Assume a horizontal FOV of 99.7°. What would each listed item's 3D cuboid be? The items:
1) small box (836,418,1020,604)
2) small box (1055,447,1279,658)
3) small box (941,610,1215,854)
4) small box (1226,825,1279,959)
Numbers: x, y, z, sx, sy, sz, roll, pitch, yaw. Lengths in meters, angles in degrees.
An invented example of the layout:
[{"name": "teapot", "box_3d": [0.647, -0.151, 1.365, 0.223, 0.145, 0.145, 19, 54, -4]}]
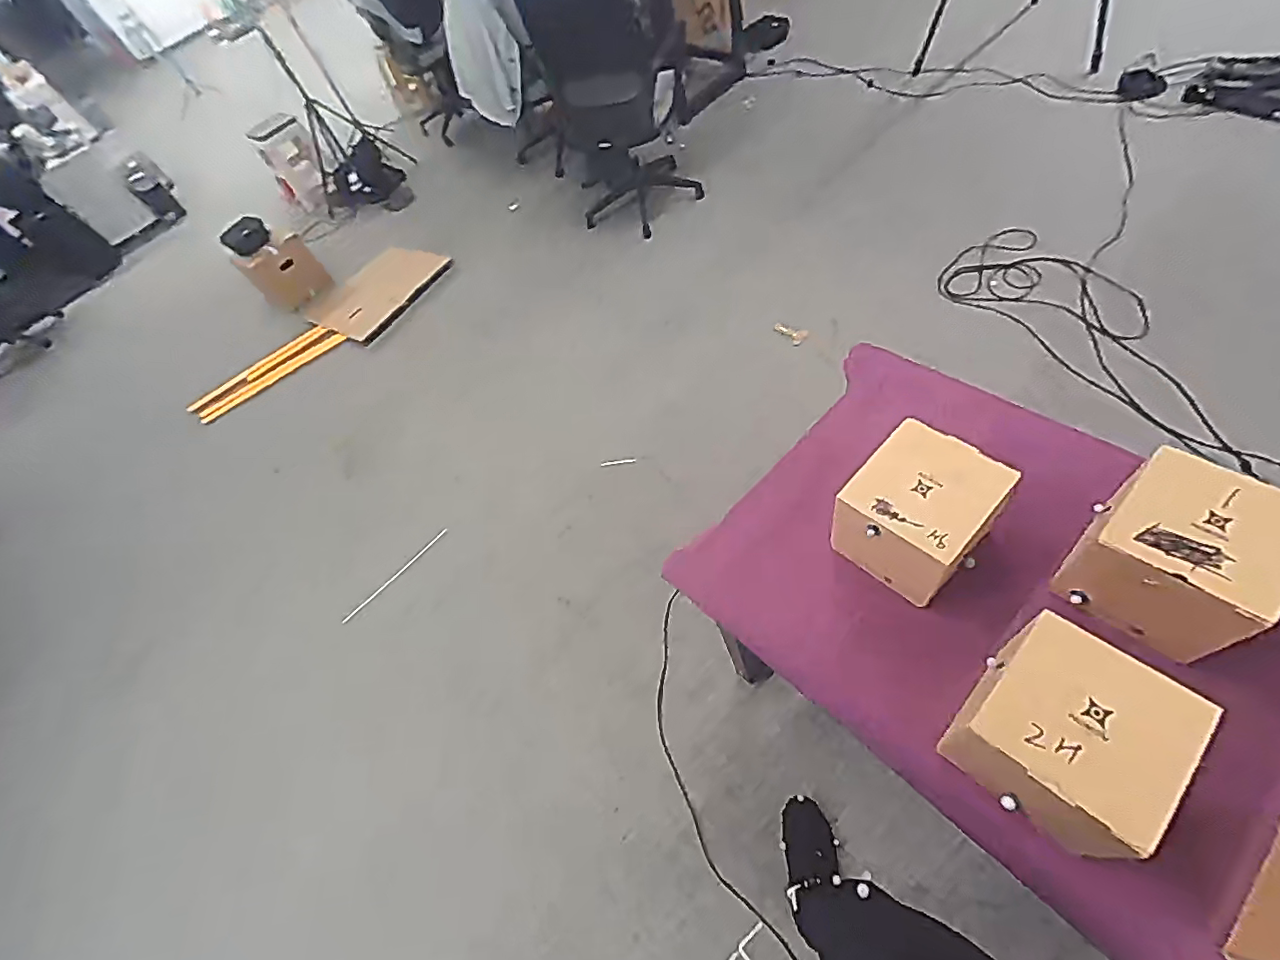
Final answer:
[{"name": "small box", "box_3d": [0.409, 0.049, 0.802, 0.179, 0.176, 0.168, -43, 55, -13]}, {"name": "small box", "box_3d": [0.681, 0.098, 0.695, 0.179, 0.176, 0.168, -44, 57, -14]}, {"name": "small box", "box_3d": [0.482, 0.290, 0.627, 0.168, 0.176, 0.179, 36, 73, 32]}, {"name": "small box", "box_3d": [0.695, 0.431, 0.478, 0.179, 0.176, 0.168, -44, 57, -14]}]
